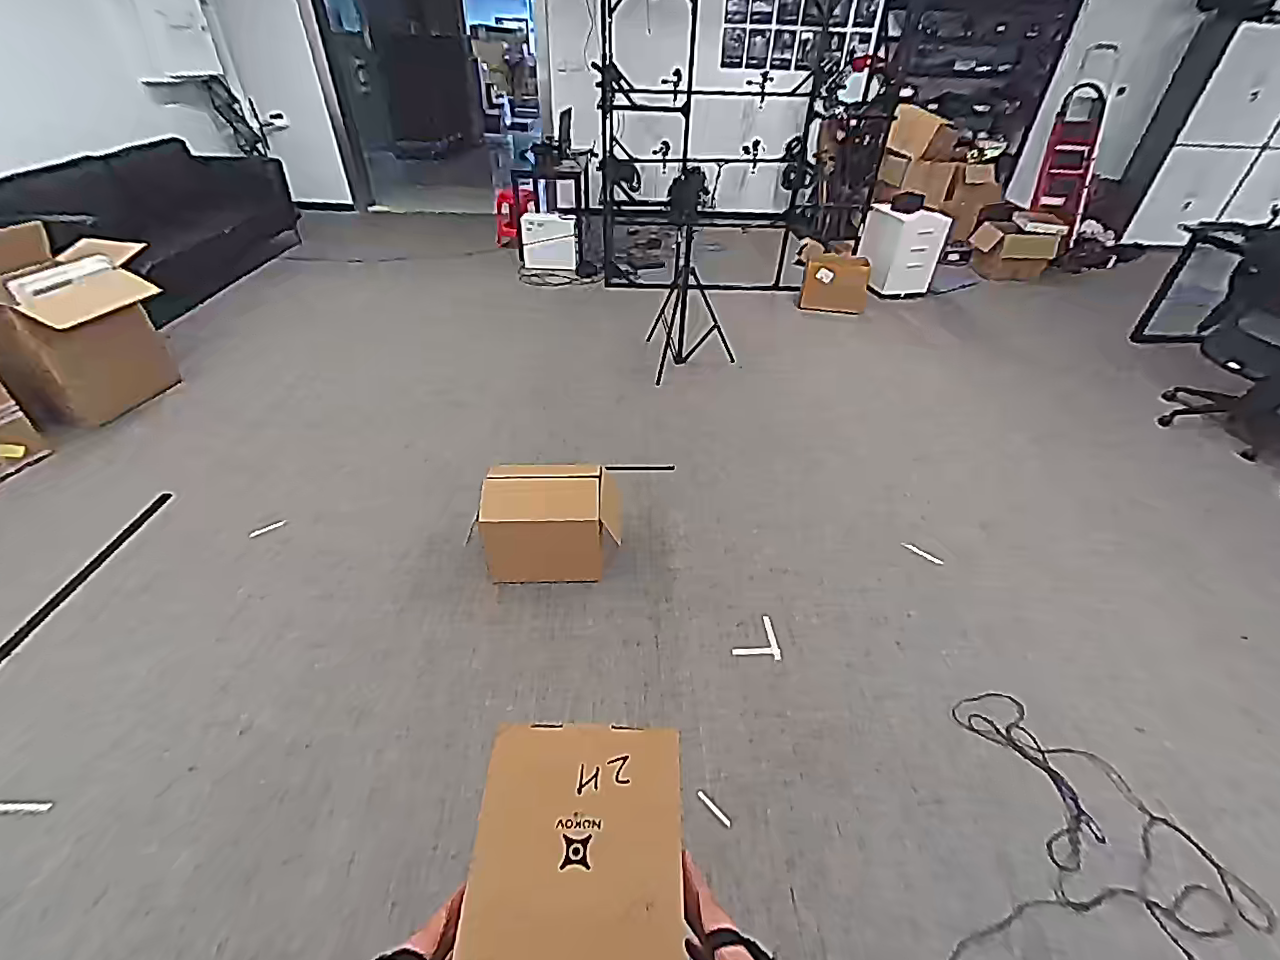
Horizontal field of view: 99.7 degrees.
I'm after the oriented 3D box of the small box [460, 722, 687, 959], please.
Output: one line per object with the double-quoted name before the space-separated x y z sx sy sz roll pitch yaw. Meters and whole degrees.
"small box" -0.047 0.344 0.493 0.168 0.176 0.179 3 45 -1
